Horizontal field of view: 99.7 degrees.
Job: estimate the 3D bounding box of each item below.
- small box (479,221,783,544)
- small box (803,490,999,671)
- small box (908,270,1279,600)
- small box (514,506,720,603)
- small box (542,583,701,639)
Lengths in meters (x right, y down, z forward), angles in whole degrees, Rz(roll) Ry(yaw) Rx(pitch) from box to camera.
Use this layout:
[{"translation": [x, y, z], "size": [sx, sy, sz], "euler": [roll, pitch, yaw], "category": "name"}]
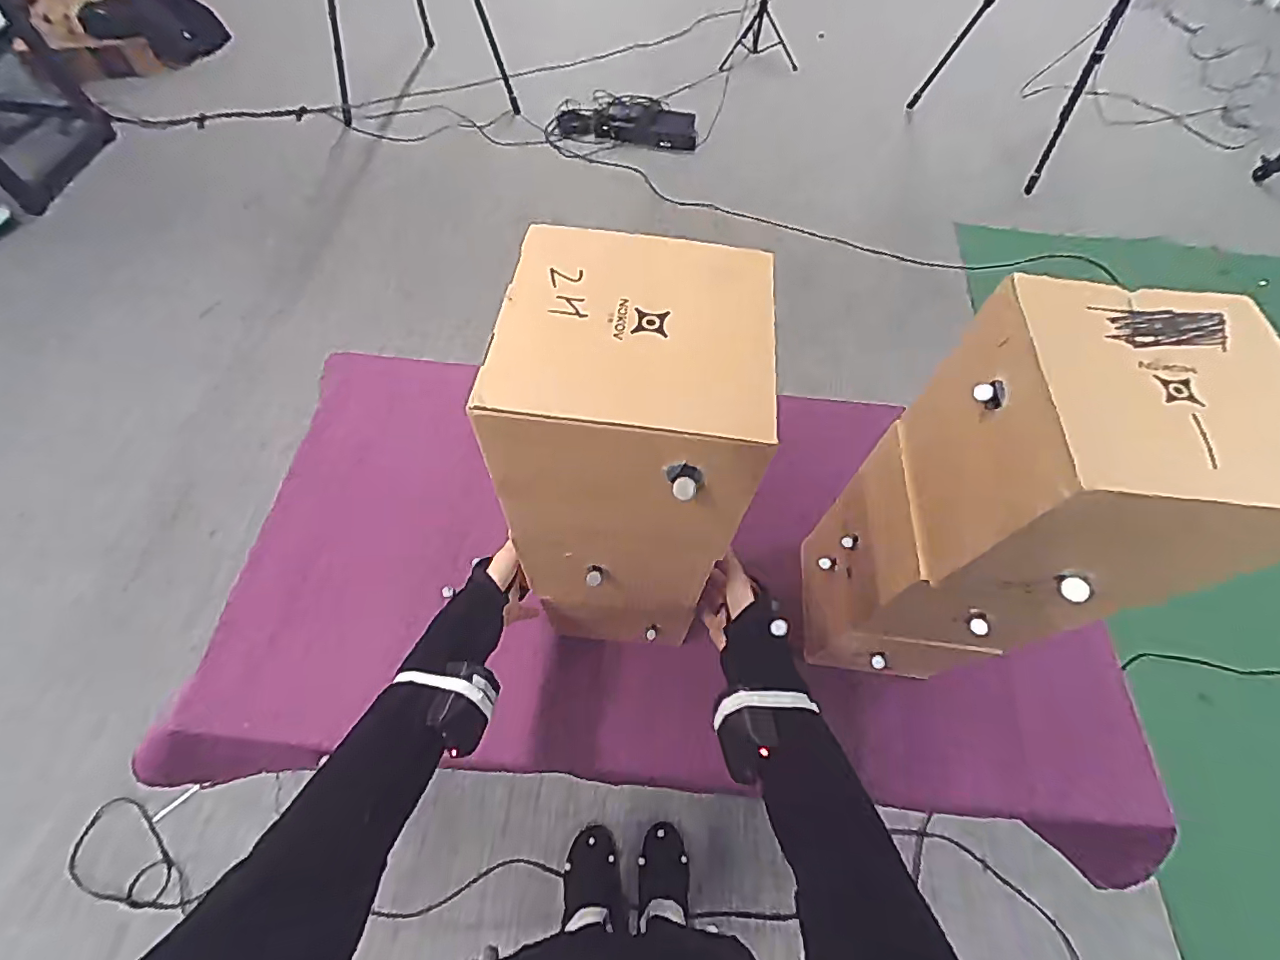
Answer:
[{"translation": [-0.001, -0.063, 0.413], "size": [0.179, 0.176, 0.168], "euler": [7, 59, 1], "category": "small box"}, {"translation": [0.316, 0.136, 0.695], "size": [0.168, 0.176, 0.179], "euler": [7, 60, 2], "category": "small box"}, {"translation": [0.327, -0.026, 0.409], "size": [0.168, 0.176, 0.179], "euler": [5, 60, 2], "category": "small box"}, {"translation": [-0.014, 0.018, 0.556], "size": [0.179, 0.176, 0.168], "euler": [6, 60, 1], "category": "small box"}, {"translation": [-0.017, 0.099, 0.699], "size": [0.179, 0.176, 0.168], "euler": [6, 59, 1], "category": "small box"}]
